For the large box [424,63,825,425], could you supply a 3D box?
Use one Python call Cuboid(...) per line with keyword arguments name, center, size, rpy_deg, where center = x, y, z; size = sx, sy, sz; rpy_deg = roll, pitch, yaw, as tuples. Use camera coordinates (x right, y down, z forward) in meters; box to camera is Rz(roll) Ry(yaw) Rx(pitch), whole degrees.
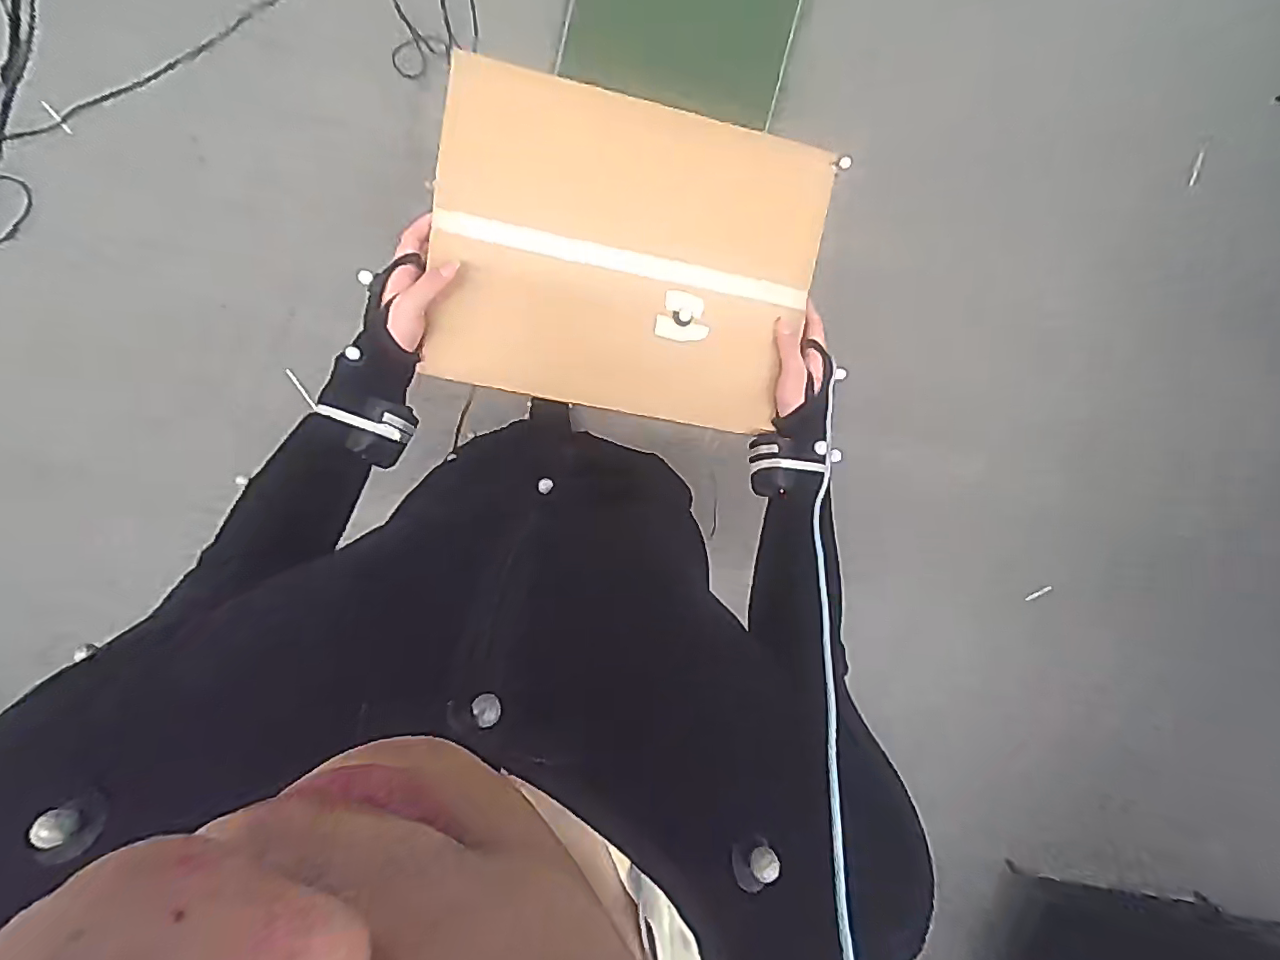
Cuboid(name="large box", center=(-0.034, -0.262, 0.729), size=(0.408, 0.320, 0.320), rpy_deg=(9, 99, -9))
